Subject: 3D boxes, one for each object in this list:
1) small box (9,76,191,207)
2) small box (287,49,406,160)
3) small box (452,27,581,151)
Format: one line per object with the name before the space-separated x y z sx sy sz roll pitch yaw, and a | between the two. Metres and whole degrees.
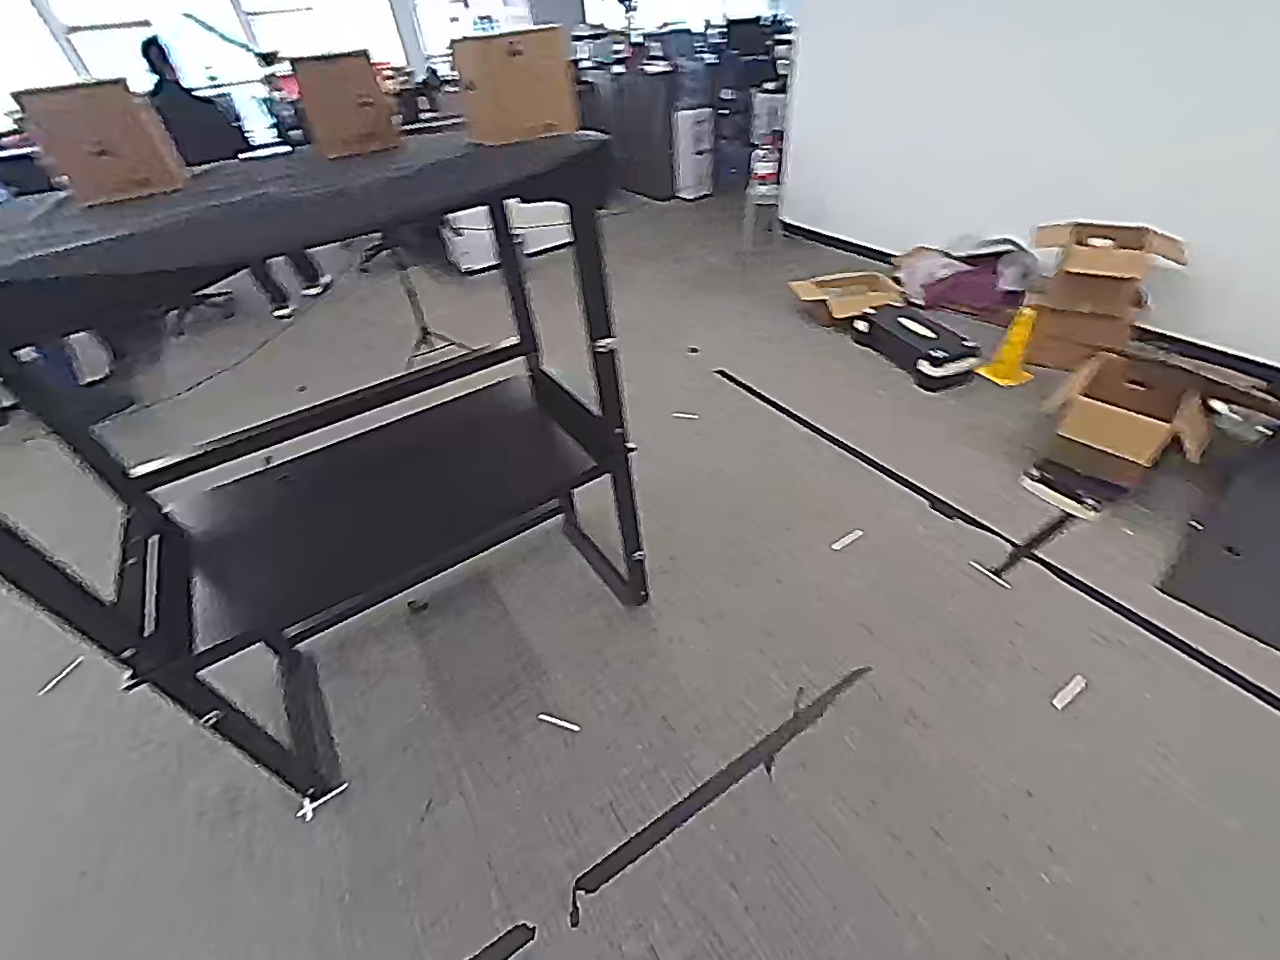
small box | -0.947 -0.606 0.970 0.168 0.176 0.179 -26 46 -22
small box | -0.609 -0.781 1.128 0.168 0.176 0.179 -22 43 -18
small box | -0.231 -0.738 1.026 0.168 0.176 0.179 -27 44 -21
